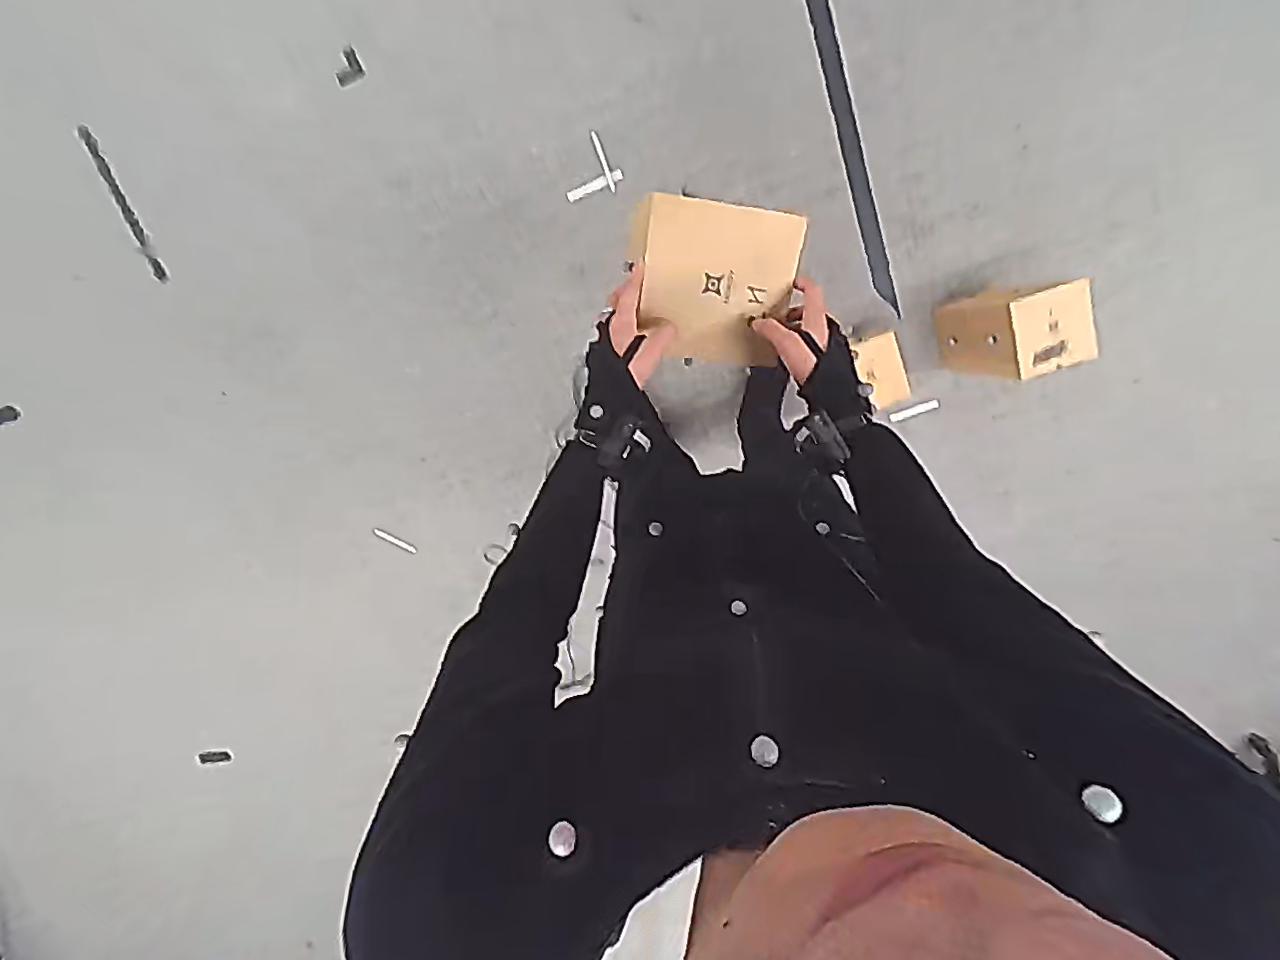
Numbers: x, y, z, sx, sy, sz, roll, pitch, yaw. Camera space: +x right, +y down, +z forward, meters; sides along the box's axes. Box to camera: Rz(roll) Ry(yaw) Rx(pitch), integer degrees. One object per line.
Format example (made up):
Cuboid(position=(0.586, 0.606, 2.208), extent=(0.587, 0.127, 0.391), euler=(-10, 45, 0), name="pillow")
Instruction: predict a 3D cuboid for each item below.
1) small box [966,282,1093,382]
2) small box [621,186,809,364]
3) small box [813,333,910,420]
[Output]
Cuboid(position=(0.890, -0.340, 1.248), extent=(0.168, 0.176, 0.179), euler=(-18, 103, 6), name="small box")
Cuboid(position=(0.076, -0.248, 0.667), extent=(0.179, 0.176, 0.168), euler=(4, 112, -11), name="small box")
Cuboid(position=(0.583, -0.278, 1.445), extent=(0.168, 0.176, 0.179), euler=(-22, 104, 7), name="small box")
